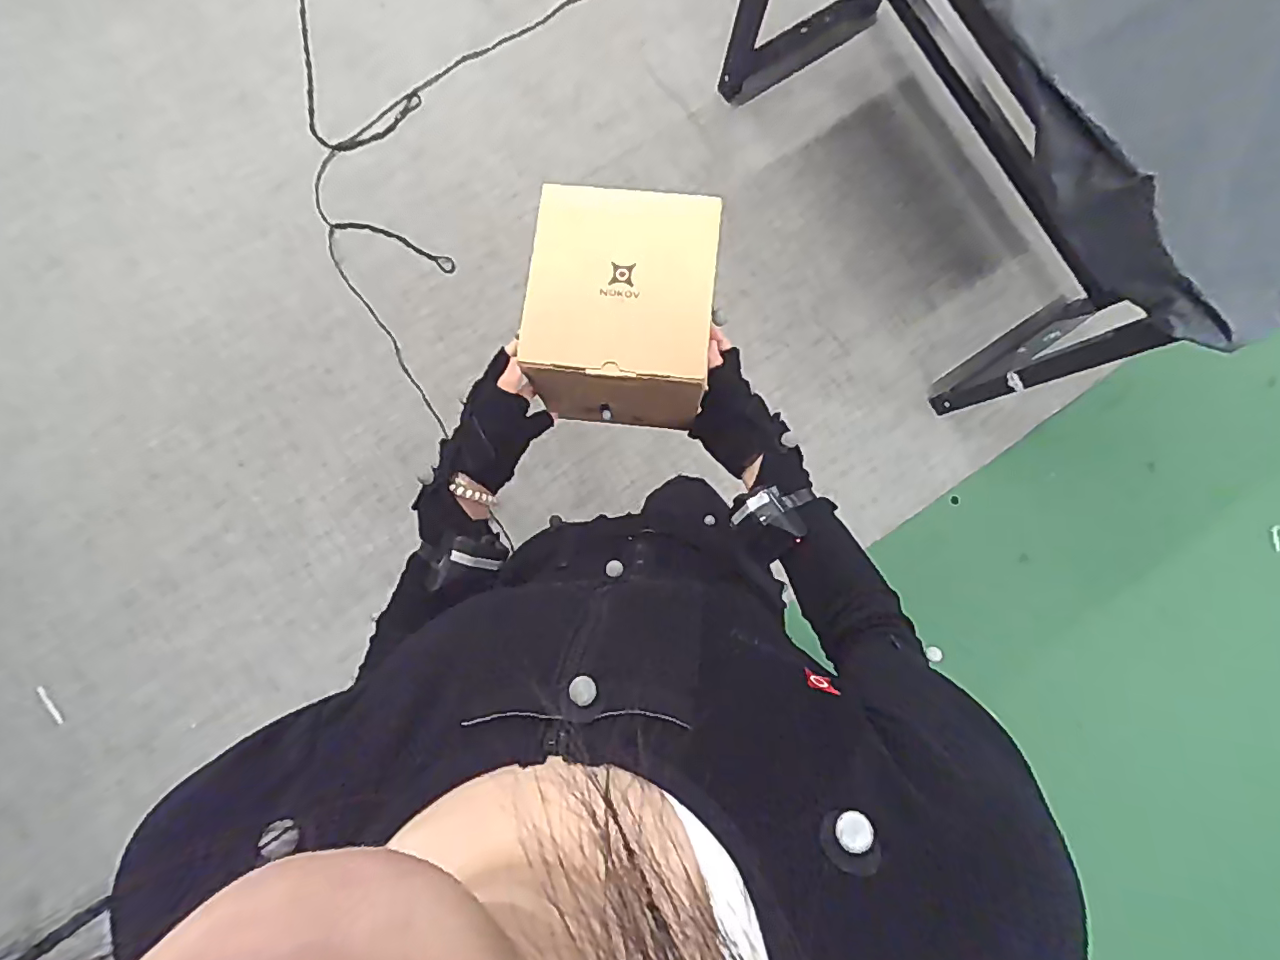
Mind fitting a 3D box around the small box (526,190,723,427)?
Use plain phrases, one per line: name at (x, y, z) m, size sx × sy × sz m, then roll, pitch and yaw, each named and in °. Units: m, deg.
small box at (-0.012, -0.167, 0.572) m, size 0.168 × 0.176 × 0.179 m, roll 6°, pitch 83°, yaw 2°
